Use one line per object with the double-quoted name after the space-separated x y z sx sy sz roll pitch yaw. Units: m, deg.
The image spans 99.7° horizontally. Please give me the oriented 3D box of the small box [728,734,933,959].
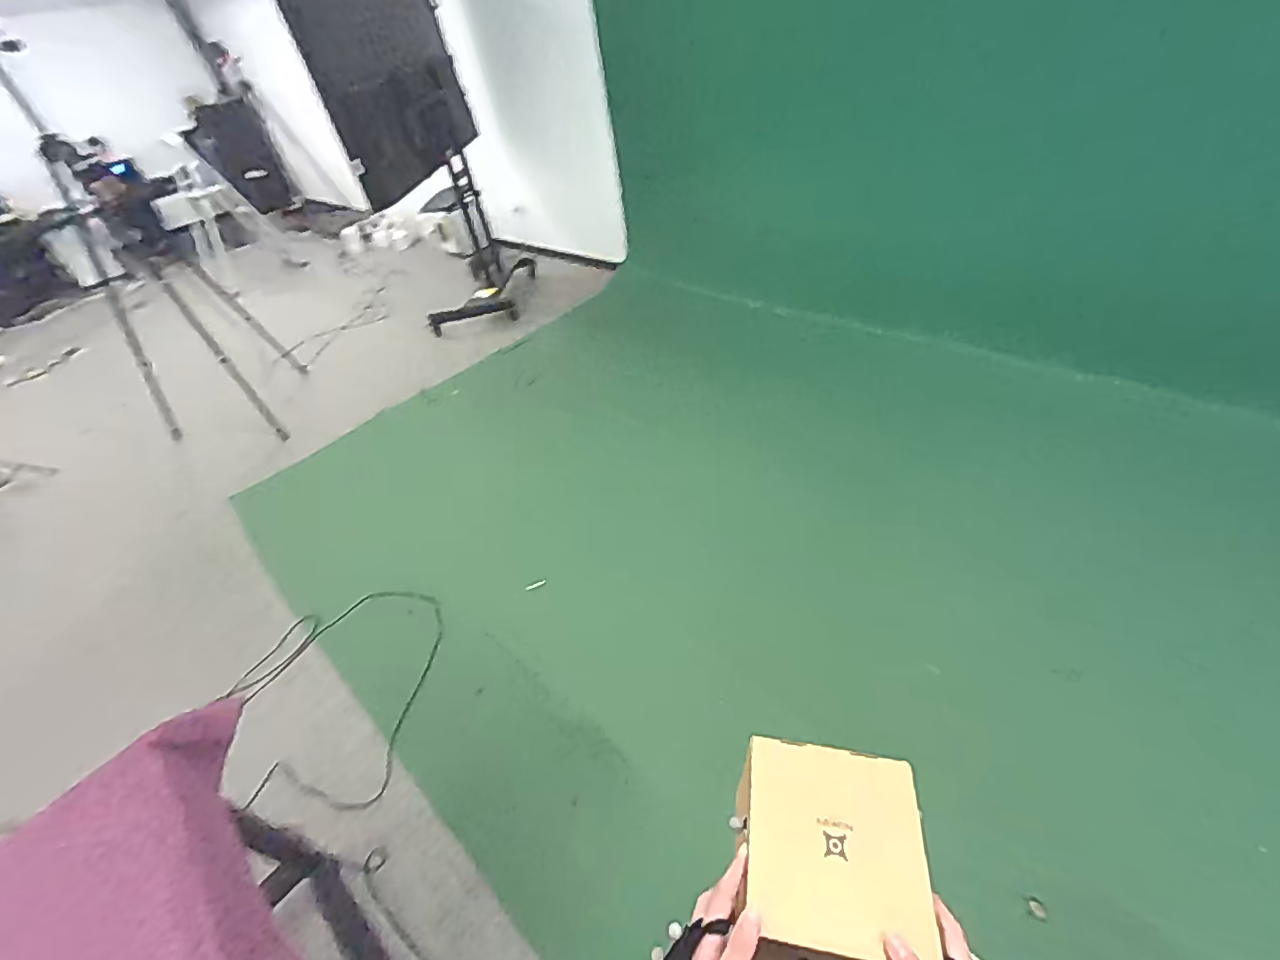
0.184 0.404 0.574 0.168 0.176 0.179 5 42 9 "small box"
